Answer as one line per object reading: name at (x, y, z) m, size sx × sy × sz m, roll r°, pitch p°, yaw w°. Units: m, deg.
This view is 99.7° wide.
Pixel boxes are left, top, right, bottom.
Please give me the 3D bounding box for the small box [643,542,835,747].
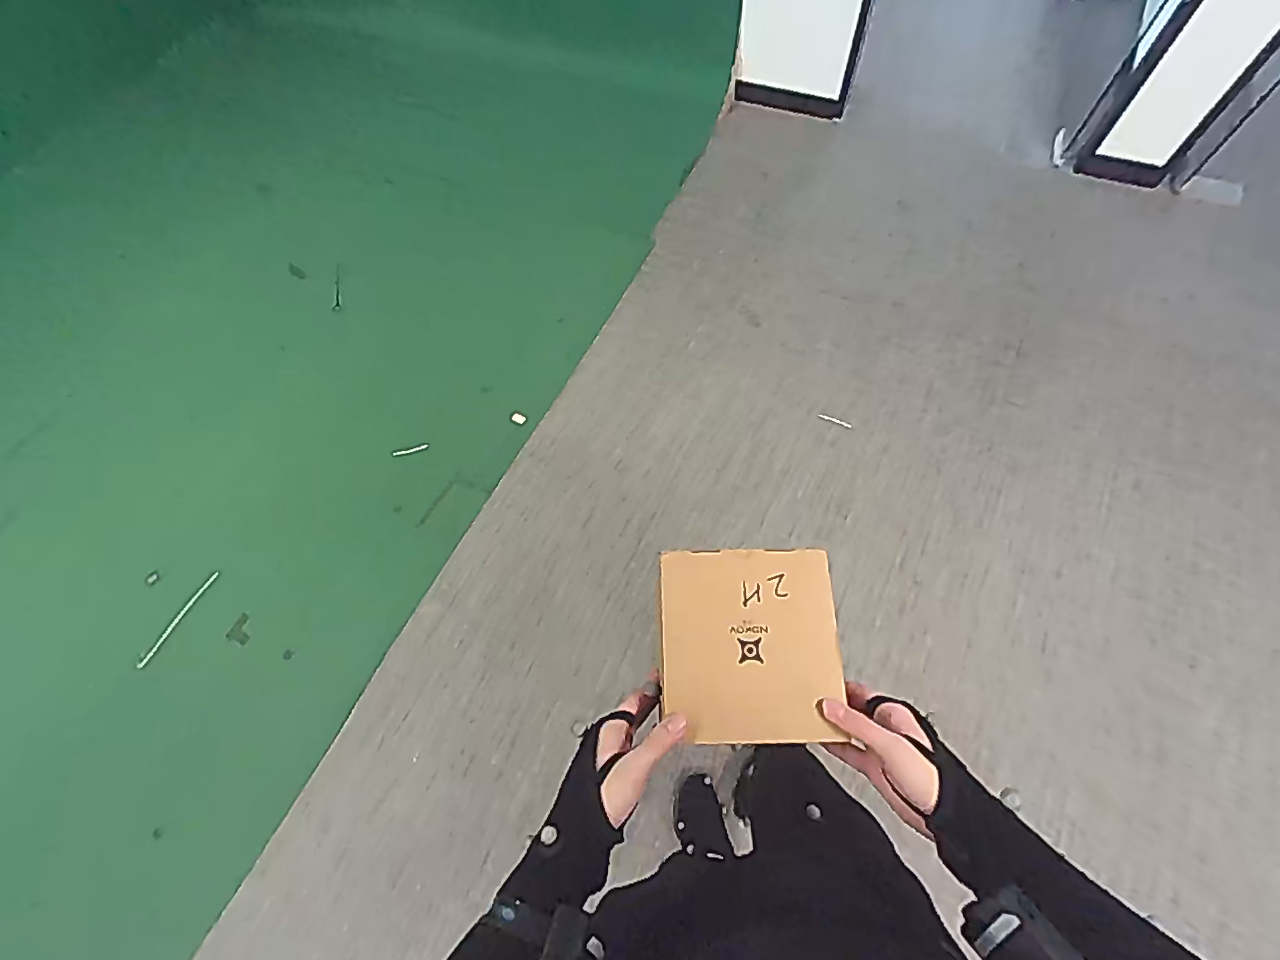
small box at (0.088, 0.168, 0.563) m, size 0.168 × 0.176 × 0.179 m, roll 1°, pitch 71°, yaw -1°
